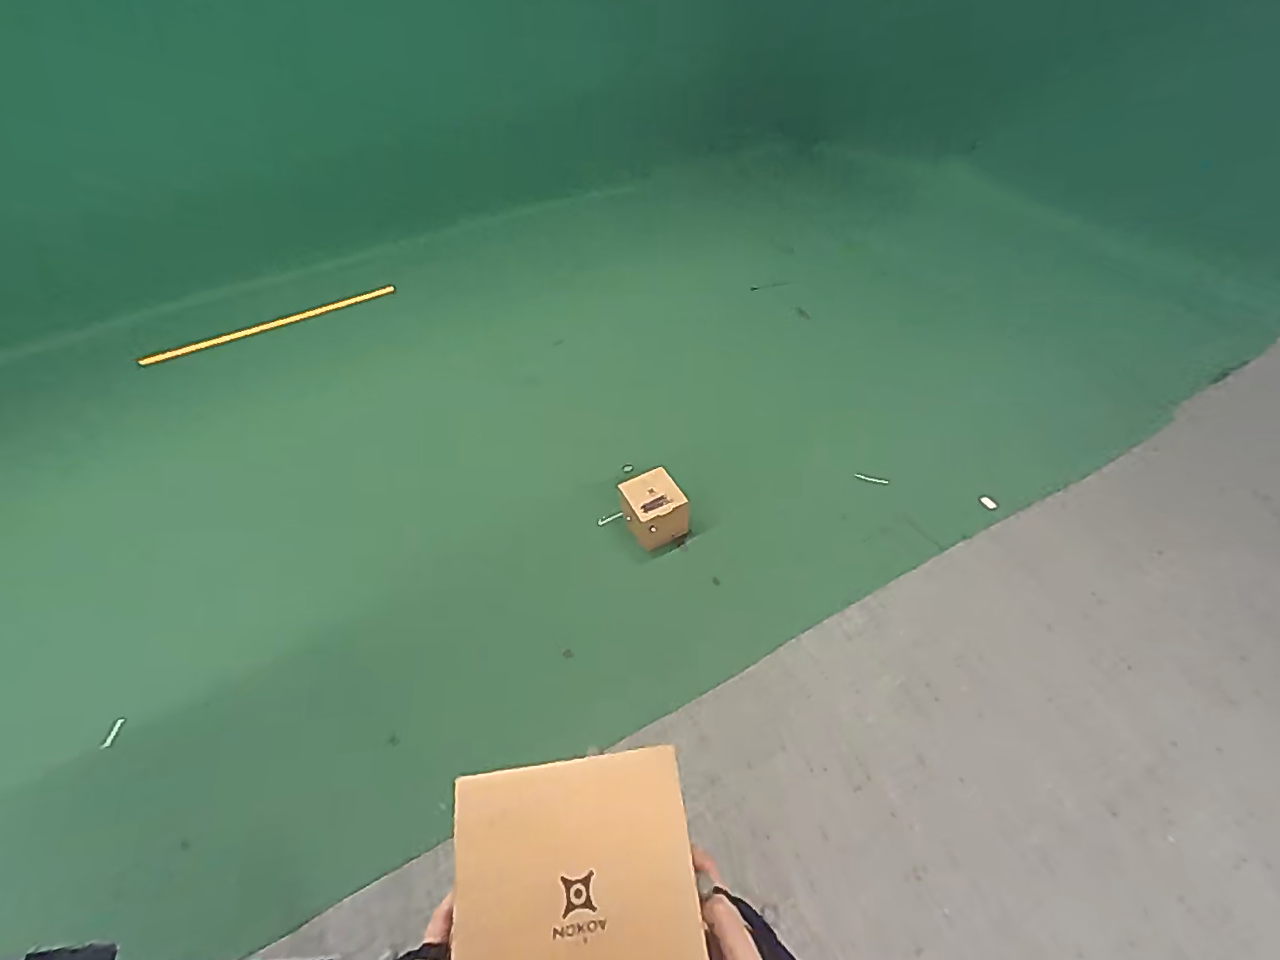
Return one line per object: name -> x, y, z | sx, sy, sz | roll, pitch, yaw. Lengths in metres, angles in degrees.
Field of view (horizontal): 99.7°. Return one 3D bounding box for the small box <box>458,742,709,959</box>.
small box -> -0.049, 0.330, 0.440 | 0.168, 0.176, 0.179 | -6, 60, -9
